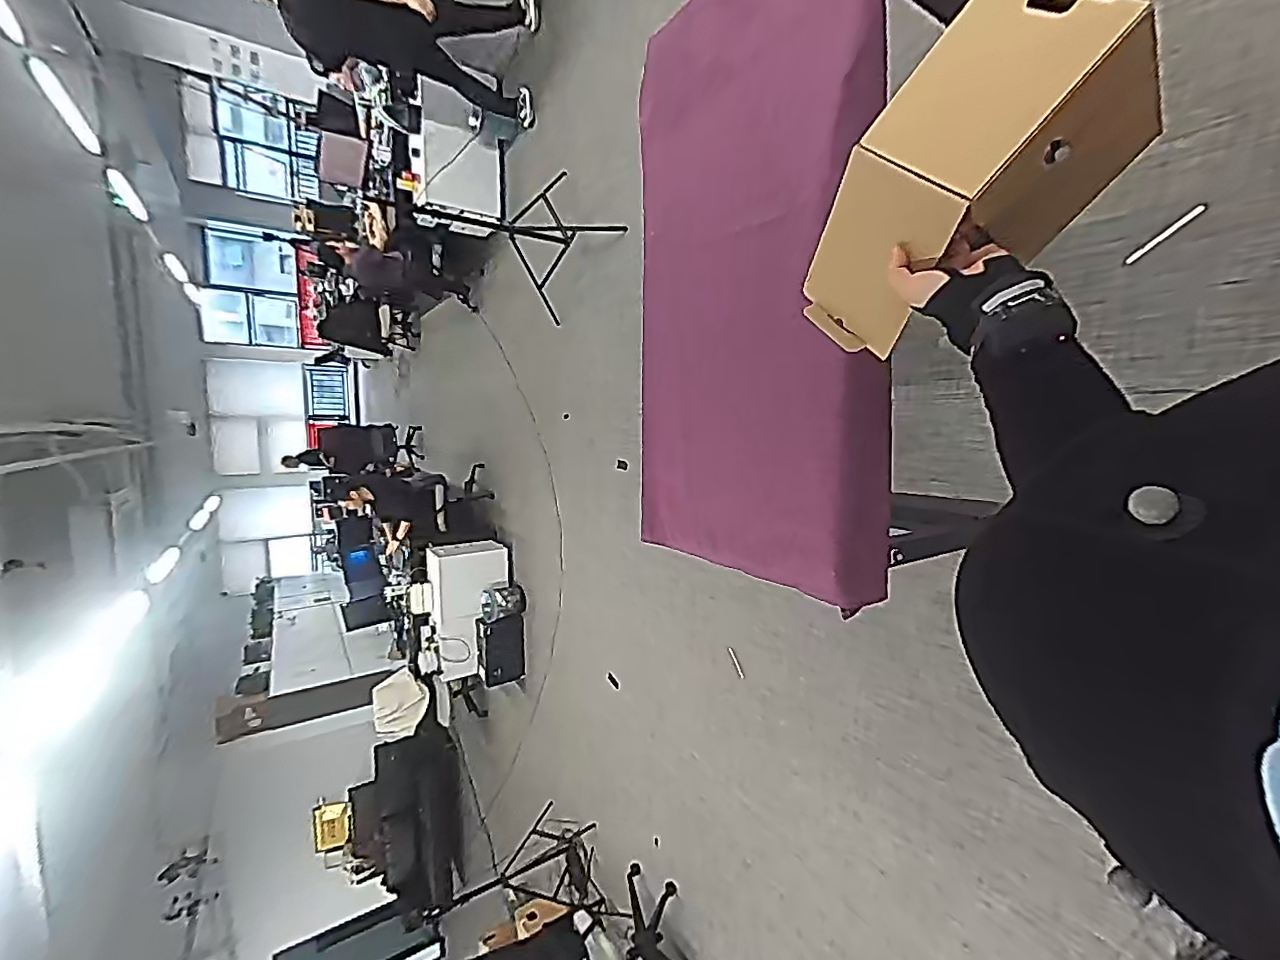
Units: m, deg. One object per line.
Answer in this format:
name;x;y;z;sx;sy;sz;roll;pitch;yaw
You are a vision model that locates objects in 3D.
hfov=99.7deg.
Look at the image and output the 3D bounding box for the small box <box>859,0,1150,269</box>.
small box;0.377;-0.355;0.562;0.179;0.176;0.168;-50;49;25
